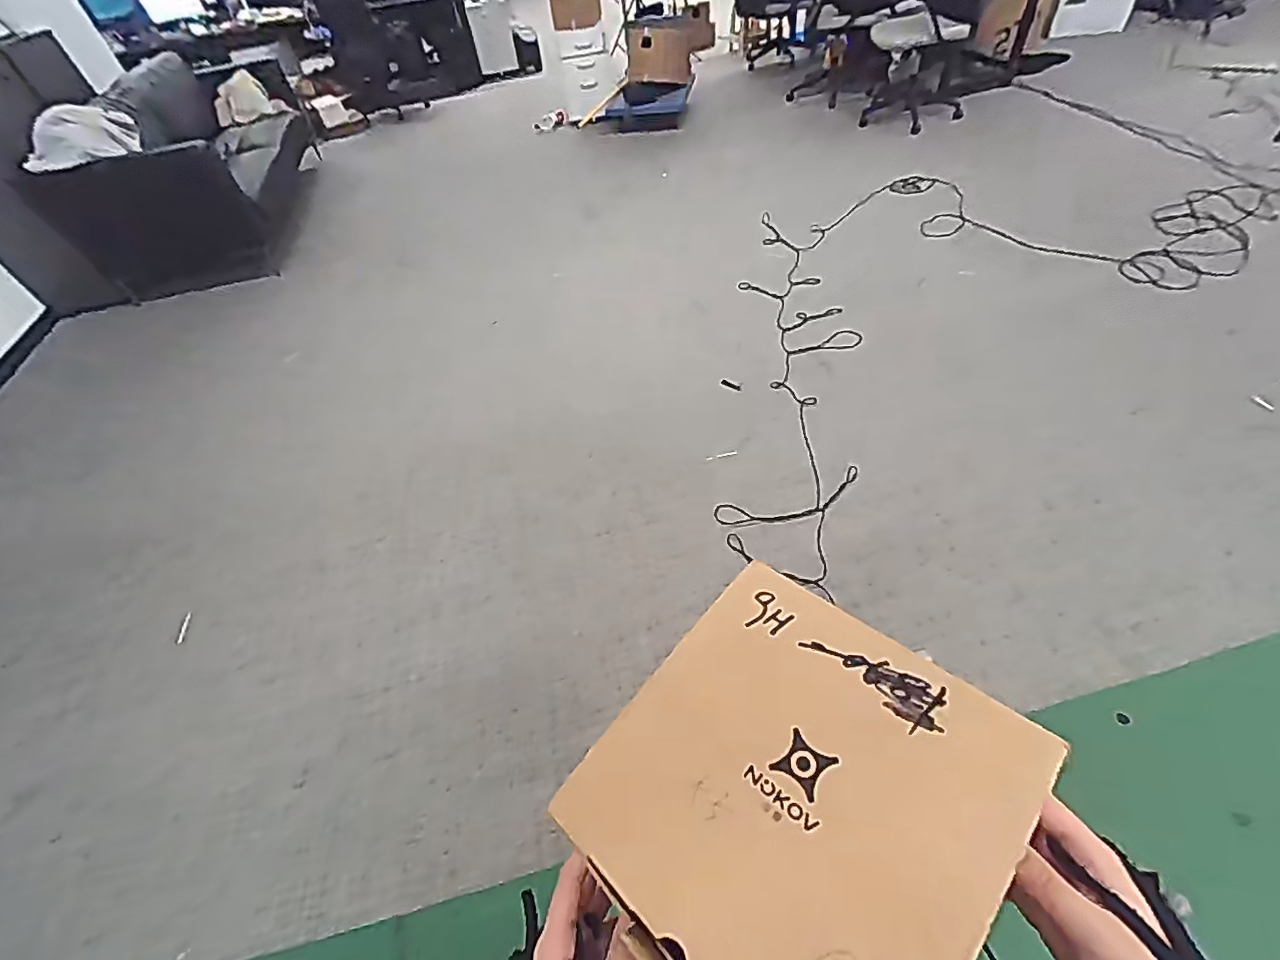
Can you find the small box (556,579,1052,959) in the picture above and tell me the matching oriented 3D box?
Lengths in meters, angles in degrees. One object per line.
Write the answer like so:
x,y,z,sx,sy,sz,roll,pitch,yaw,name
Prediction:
0.088,0.199,0.312,0.168,0.176,0.179,29,63,35,small box
